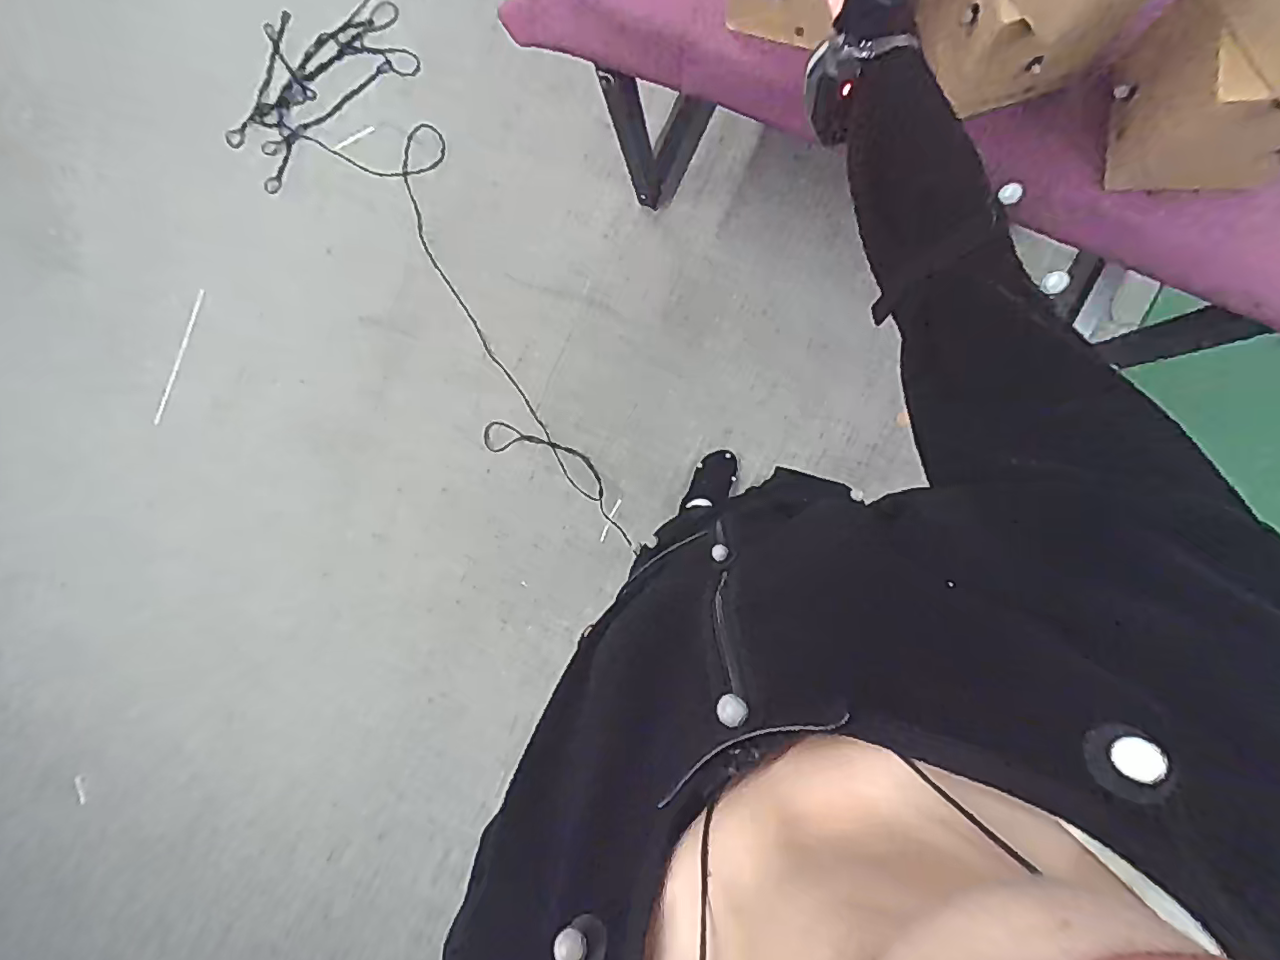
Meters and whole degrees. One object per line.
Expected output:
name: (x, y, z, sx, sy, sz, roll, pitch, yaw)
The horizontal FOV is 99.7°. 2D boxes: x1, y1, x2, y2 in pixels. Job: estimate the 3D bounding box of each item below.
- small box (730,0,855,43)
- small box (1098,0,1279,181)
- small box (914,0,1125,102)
small box: (0.211, -0.698, 0.668, 0.168, 0.176, 0.179, 20, 93, 8)
small box: (0.674, -0.460, 0.607, 0.179, 0.176, 0.168, 4, 91, 9)
small box: (0.448, -0.587, 0.634, 0.168, 0.176, 0.179, -12, 90, 8)
